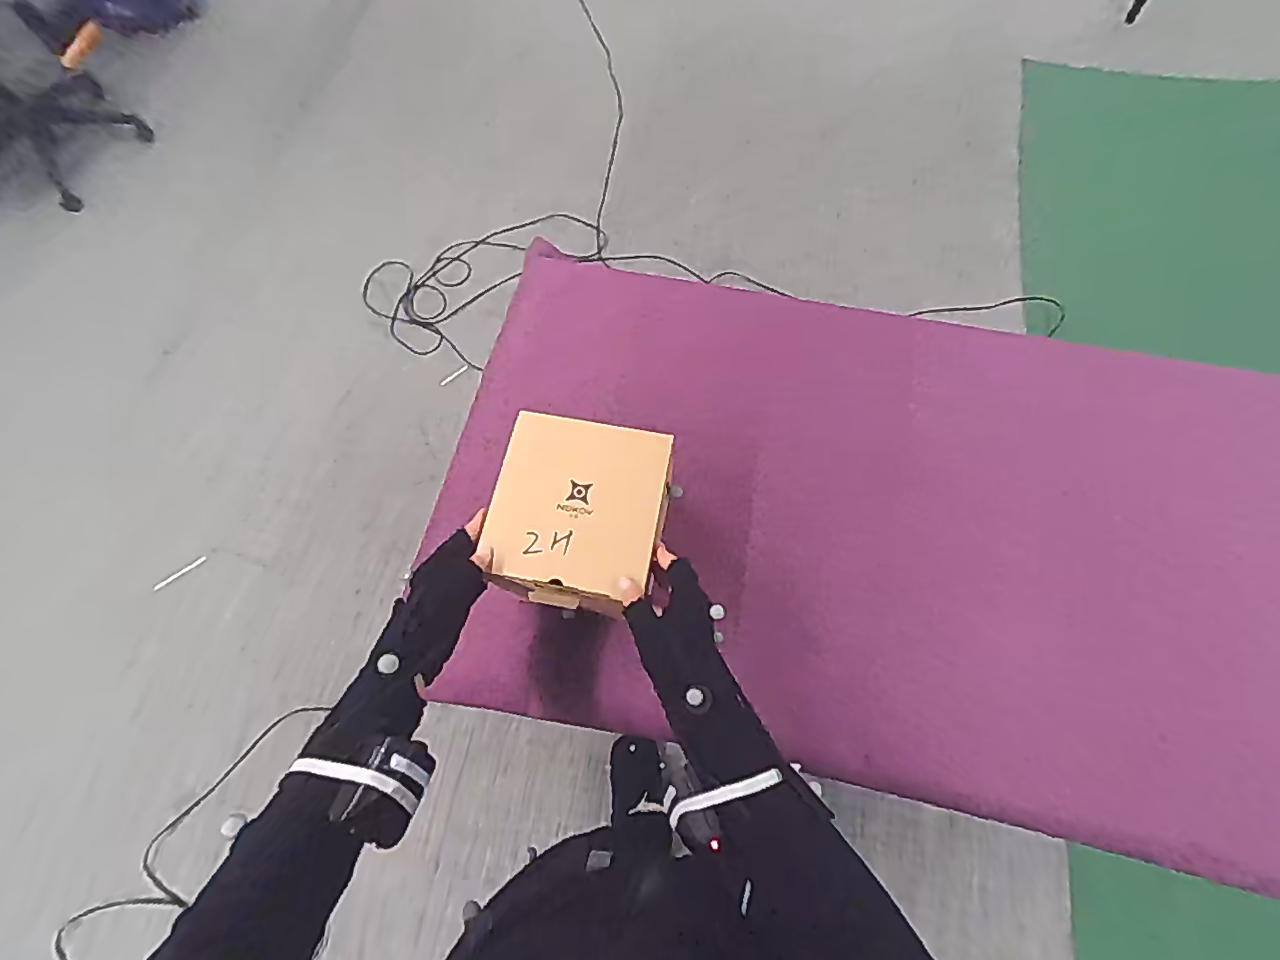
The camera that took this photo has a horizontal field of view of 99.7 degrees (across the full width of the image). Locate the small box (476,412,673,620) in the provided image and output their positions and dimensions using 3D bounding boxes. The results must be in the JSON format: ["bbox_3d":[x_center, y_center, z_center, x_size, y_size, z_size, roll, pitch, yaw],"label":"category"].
[{"bbox_3d":[-0.060,0.049,0.612,0.168,0.176,0.179,10,70,6],"label":"small box"}]
